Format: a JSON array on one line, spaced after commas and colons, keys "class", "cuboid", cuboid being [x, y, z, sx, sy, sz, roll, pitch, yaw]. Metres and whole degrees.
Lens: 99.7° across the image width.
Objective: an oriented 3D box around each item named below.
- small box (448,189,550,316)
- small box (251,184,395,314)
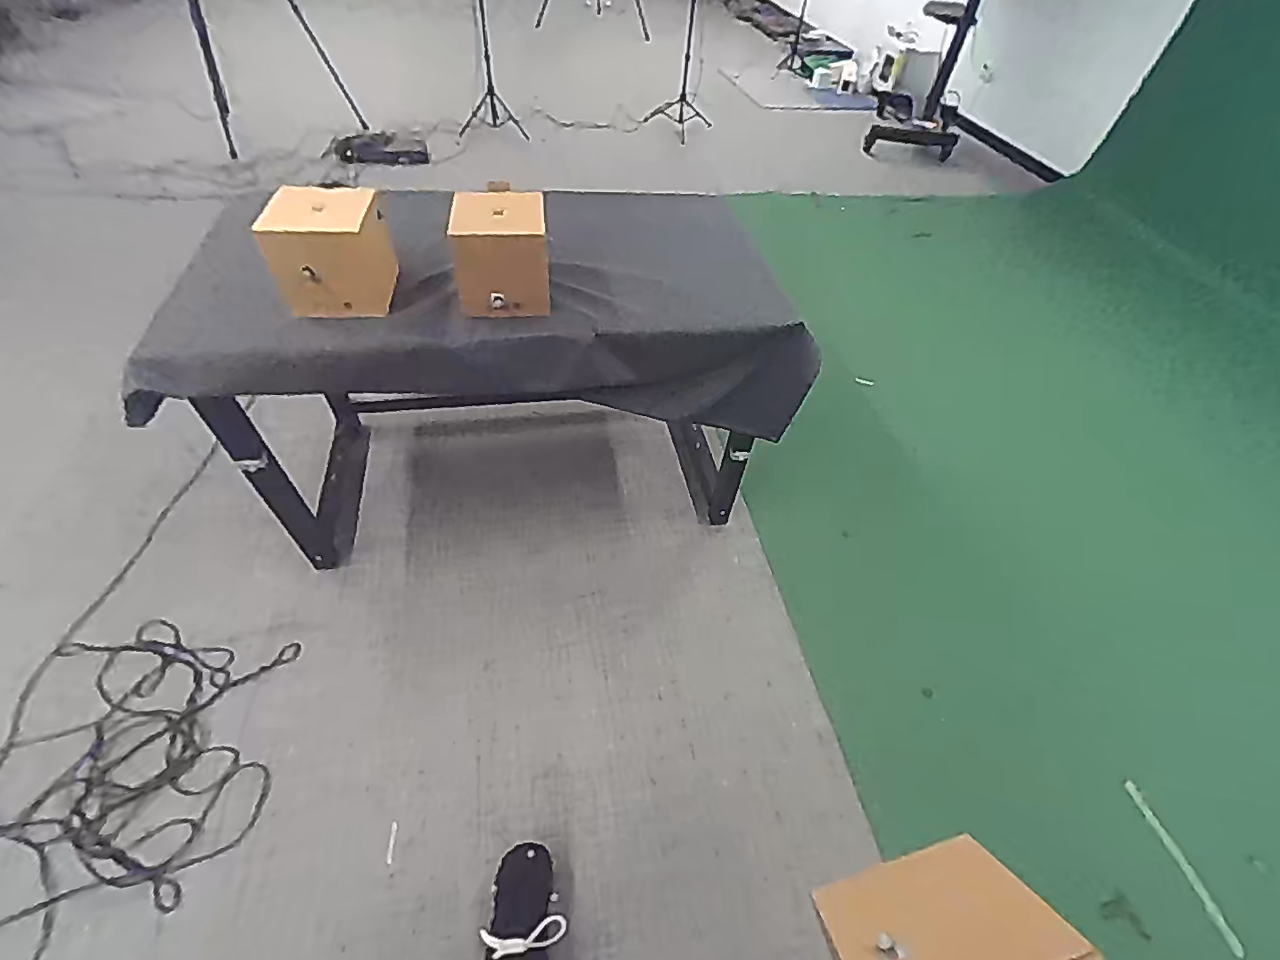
[{"class": "small box", "cuboid": [-0.262, -0.434, 1.037, 0.168, 0.176, 0.179, -5, 51, -8]}, {"class": "small box", "cuboid": [-0.563, -0.420, 0.992, 0.168, 0.176, 0.179, -4, 49, -9]}]
